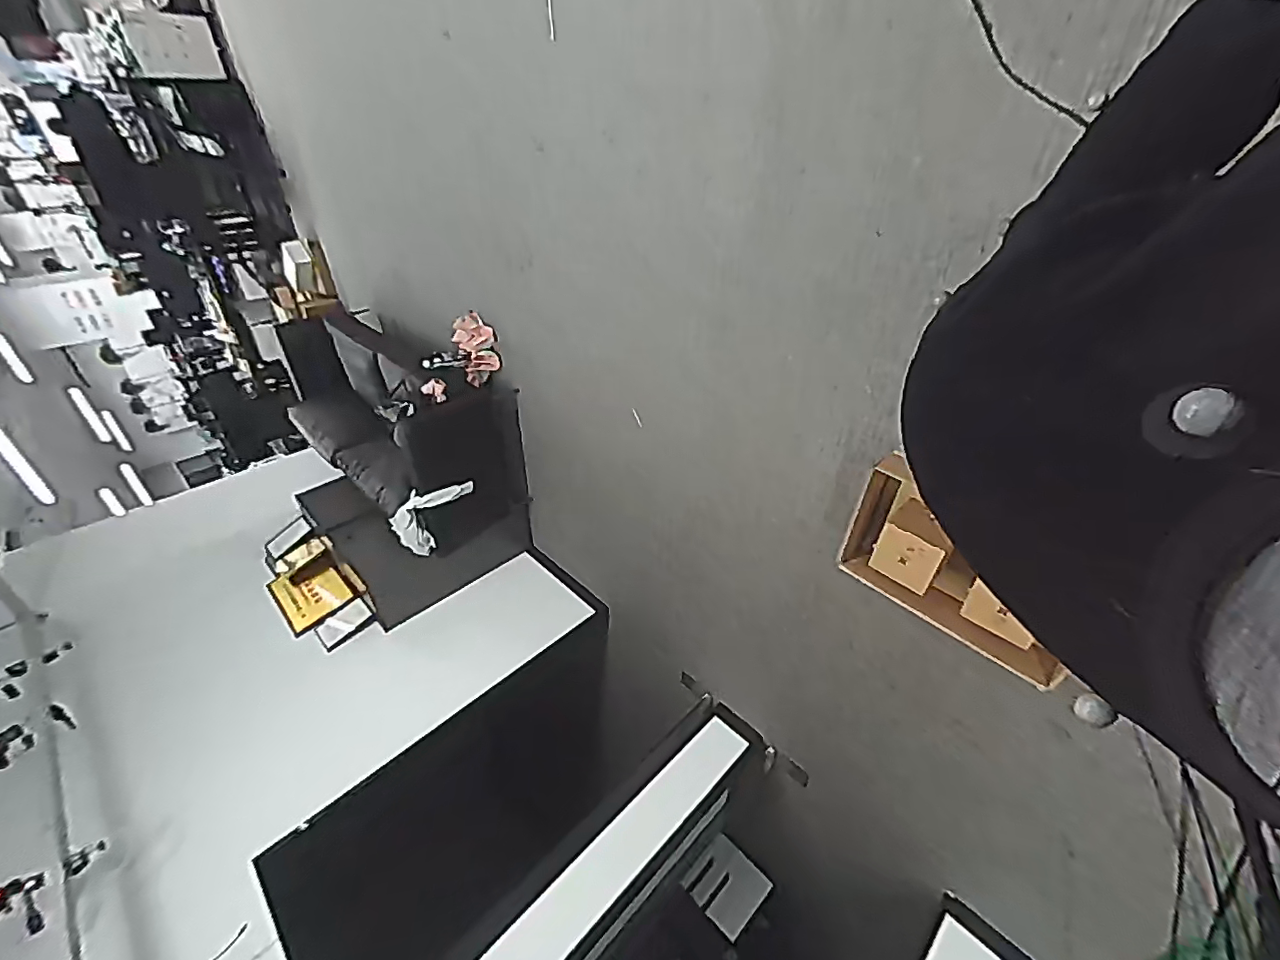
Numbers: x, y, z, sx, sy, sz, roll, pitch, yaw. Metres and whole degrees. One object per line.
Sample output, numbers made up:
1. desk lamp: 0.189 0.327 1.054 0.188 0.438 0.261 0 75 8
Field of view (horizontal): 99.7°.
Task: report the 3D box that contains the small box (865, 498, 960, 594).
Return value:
1. small box: 0.781 0.183 1.546 0.168 0.176 0.179 32 135 32
